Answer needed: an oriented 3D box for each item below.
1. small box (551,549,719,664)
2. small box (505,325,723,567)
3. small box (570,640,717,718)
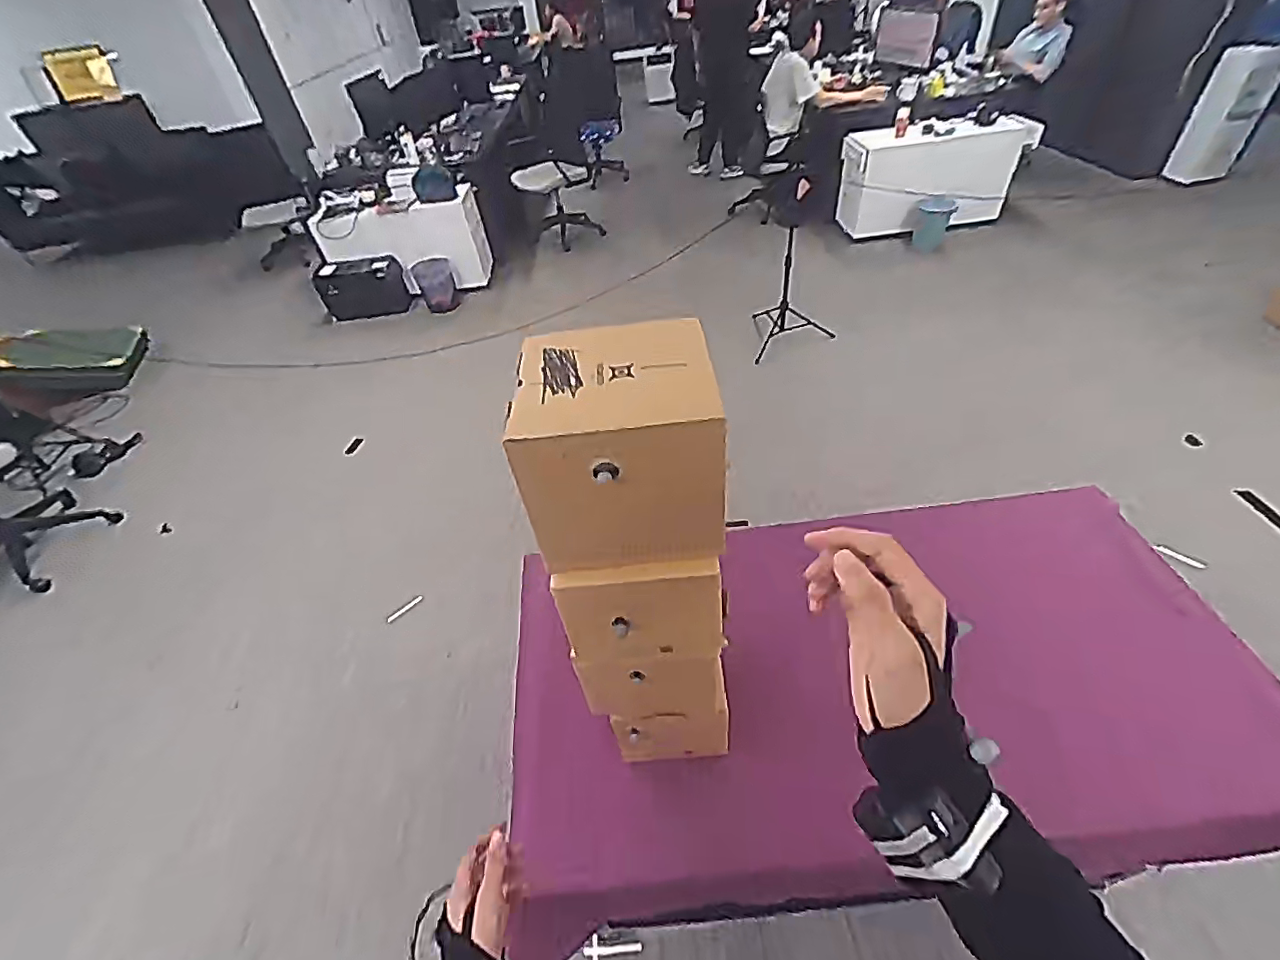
[{"bbox_3d":[0.000,0.099,0.633,0.168,0.176,0.179,-6,43,2],"label":"small box"},{"bbox_3d":[-0.016,-0.030,0.531,0.179,0.176,0.168,-6,43,1],"label":"small box"},{"bbox_3d":[0.016,0.214,0.747,0.179,0.176,0.168,-1,44,7],"label":"small box"}]
